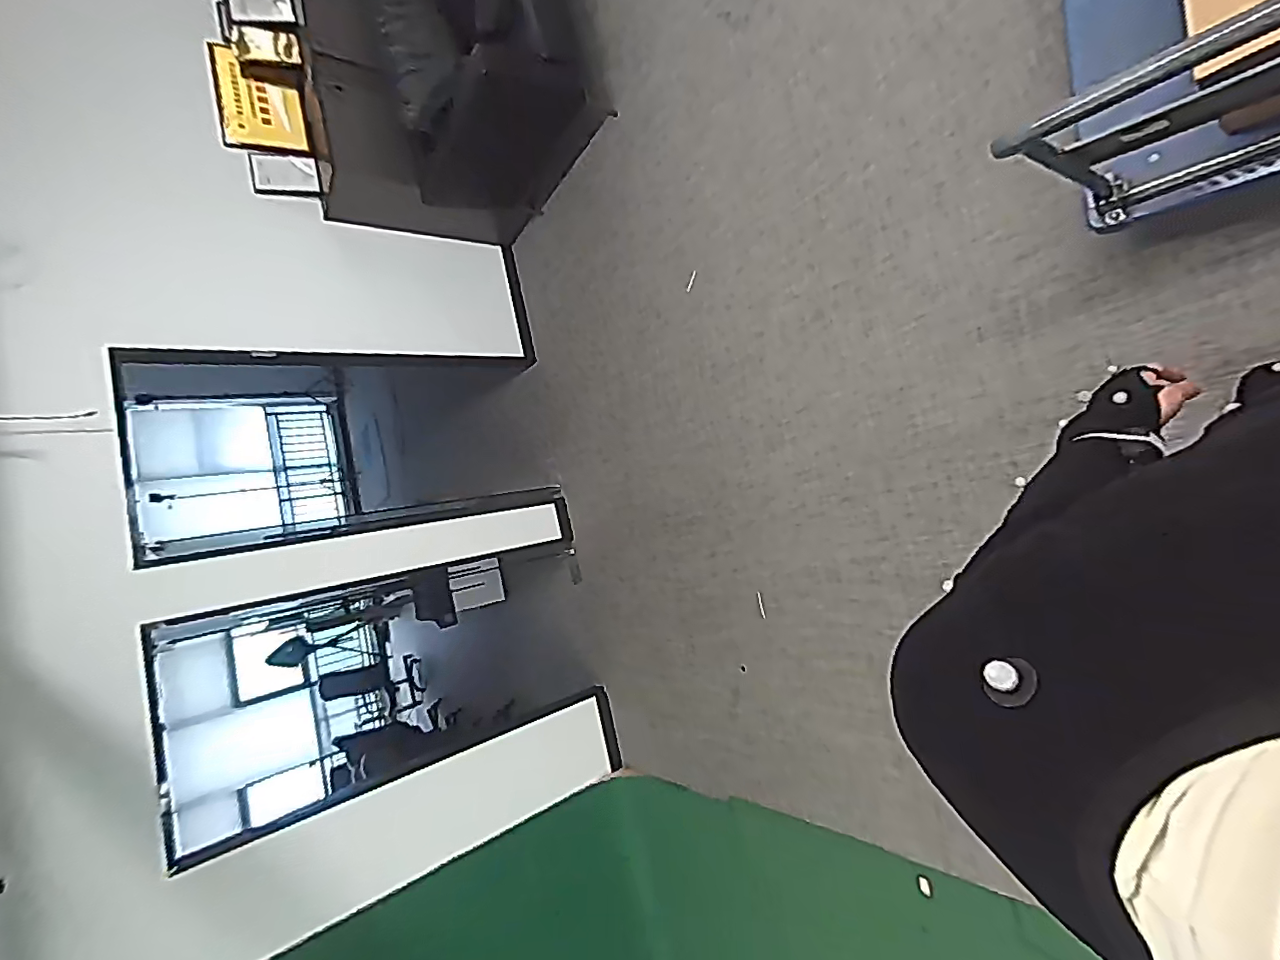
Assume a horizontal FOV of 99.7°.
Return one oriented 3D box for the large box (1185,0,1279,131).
[{"bbox_3d":[1.012,-0.816,0.768,0.320,0.320,0.408,-7,91,52],"label":"large box"}]
